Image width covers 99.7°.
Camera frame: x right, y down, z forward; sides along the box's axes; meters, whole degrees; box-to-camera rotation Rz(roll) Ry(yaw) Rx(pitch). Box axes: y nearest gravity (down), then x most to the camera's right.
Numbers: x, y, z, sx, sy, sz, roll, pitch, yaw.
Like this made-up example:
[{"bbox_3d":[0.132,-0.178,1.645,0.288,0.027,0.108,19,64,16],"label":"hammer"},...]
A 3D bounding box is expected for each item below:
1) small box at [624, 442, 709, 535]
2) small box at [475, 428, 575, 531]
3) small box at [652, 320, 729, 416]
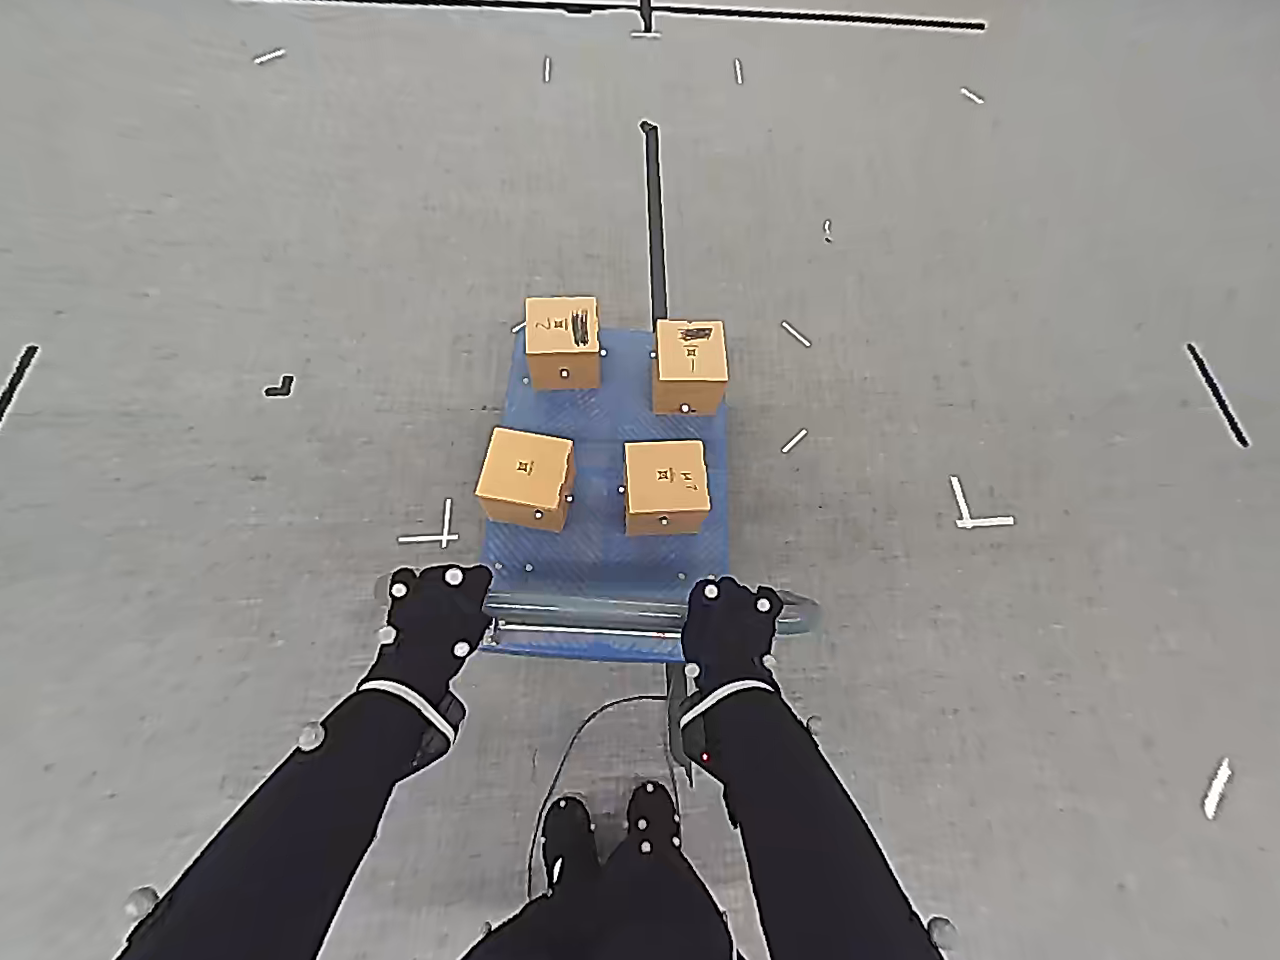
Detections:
[{"bbox_3d":[0.053,0.024,1.234,0.179,0.176,0.168,-2,68,-4],"label":"small box"},{"bbox_3d":[-0.250,0.005,1.223,0.179,0.176,0.168,10,67,-1],"label":"small box"},{"bbox_3d":[0.121,-0.280,1.365,0.168,0.176,0.179,0,68,-4],"label":"small box"}]
